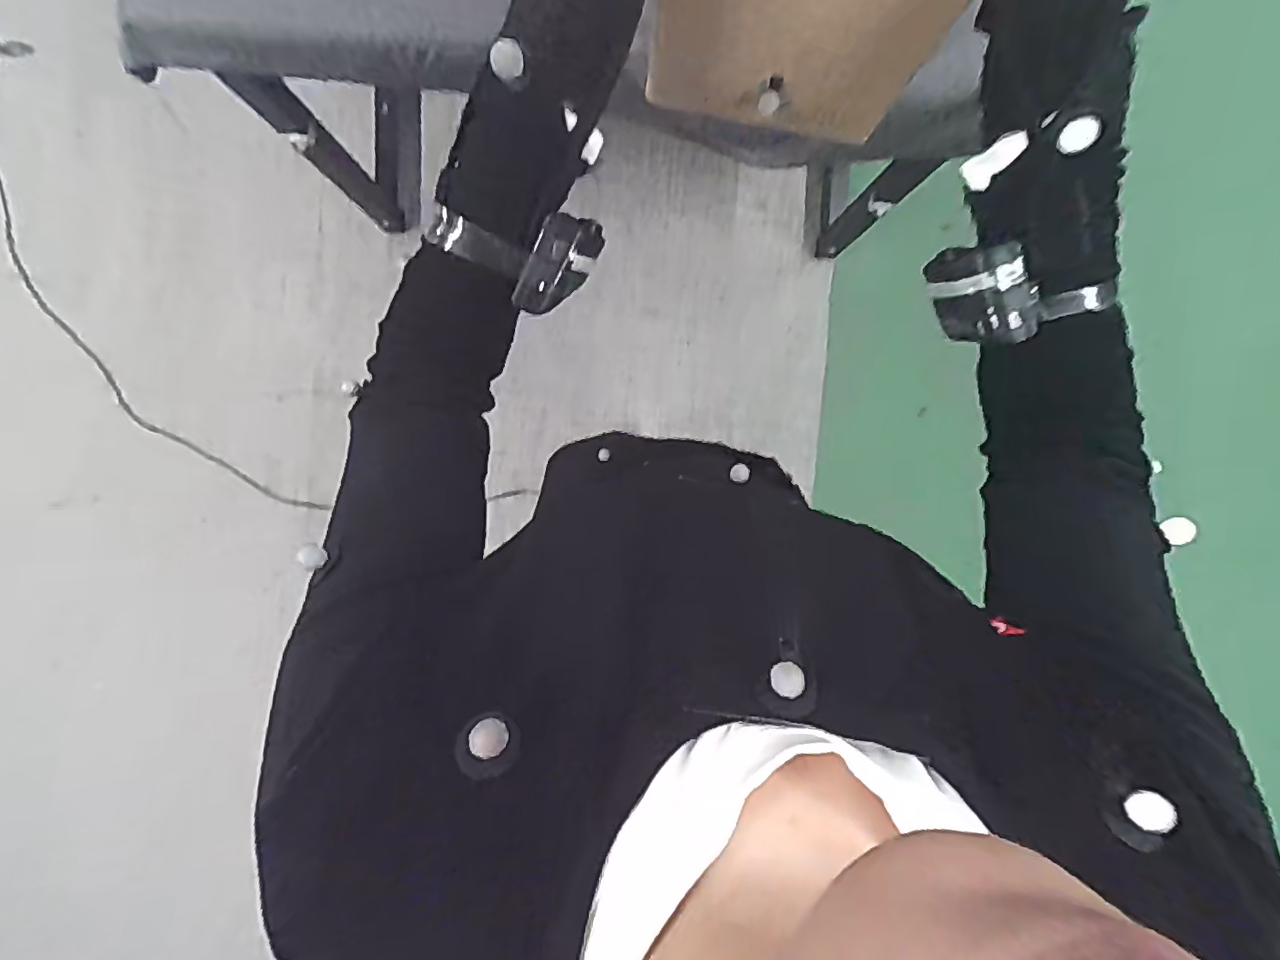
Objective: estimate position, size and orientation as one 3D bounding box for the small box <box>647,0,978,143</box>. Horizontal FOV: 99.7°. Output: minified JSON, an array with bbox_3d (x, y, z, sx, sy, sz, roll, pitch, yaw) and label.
[{"bbox_3d":[0.109,-0.353,0.342,0.179,0.176,0.168,8,87,-5],"label":"small box"}]
